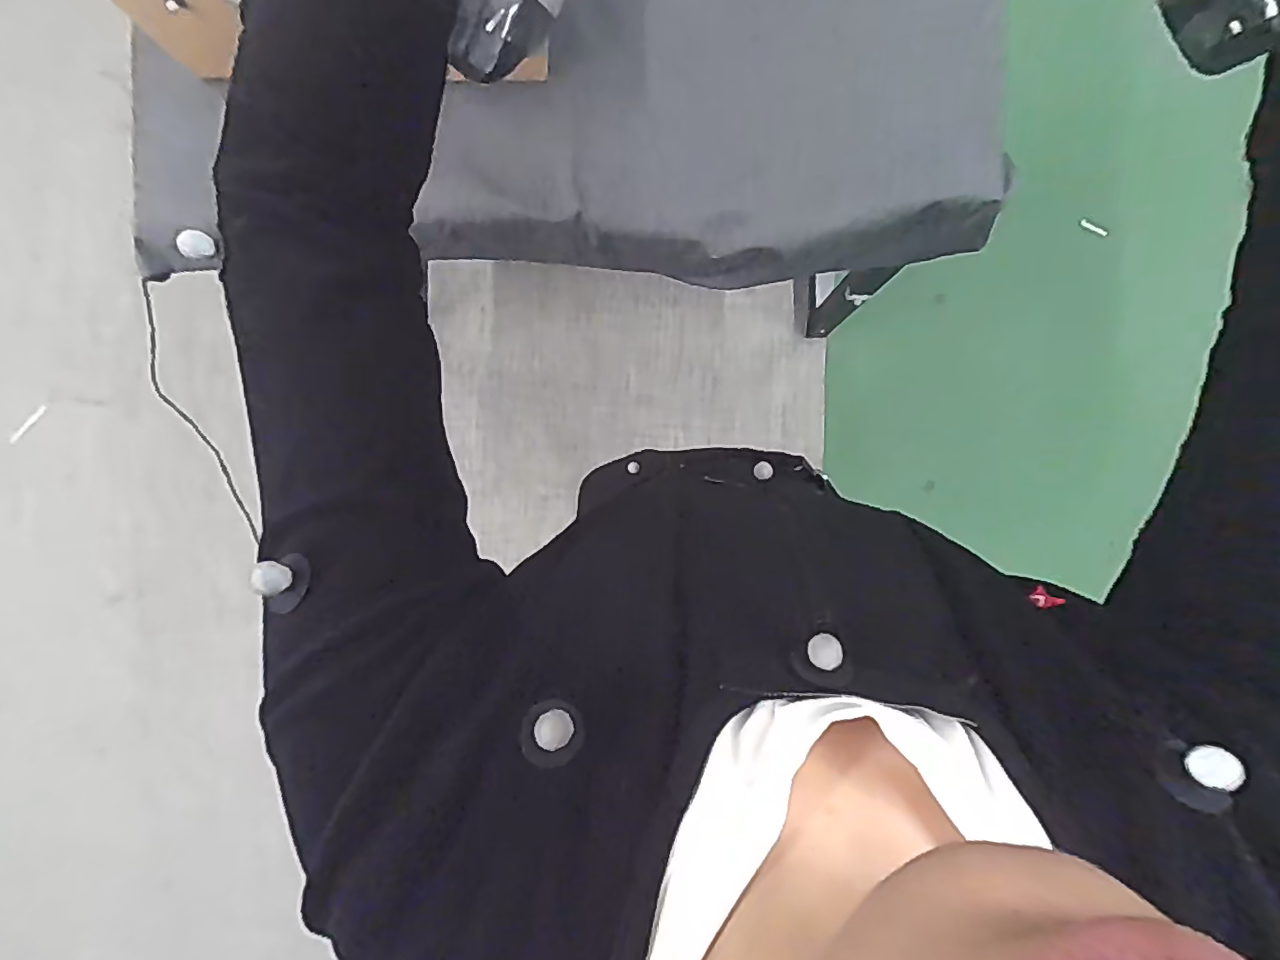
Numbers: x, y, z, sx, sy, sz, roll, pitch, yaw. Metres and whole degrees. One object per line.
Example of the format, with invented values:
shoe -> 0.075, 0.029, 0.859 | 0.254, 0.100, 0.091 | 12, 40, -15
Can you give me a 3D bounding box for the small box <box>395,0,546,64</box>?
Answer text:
small box -> -0.212, -0.654, 0.665 | 0.168, 0.176, 0.179 | 1, 91, 2
